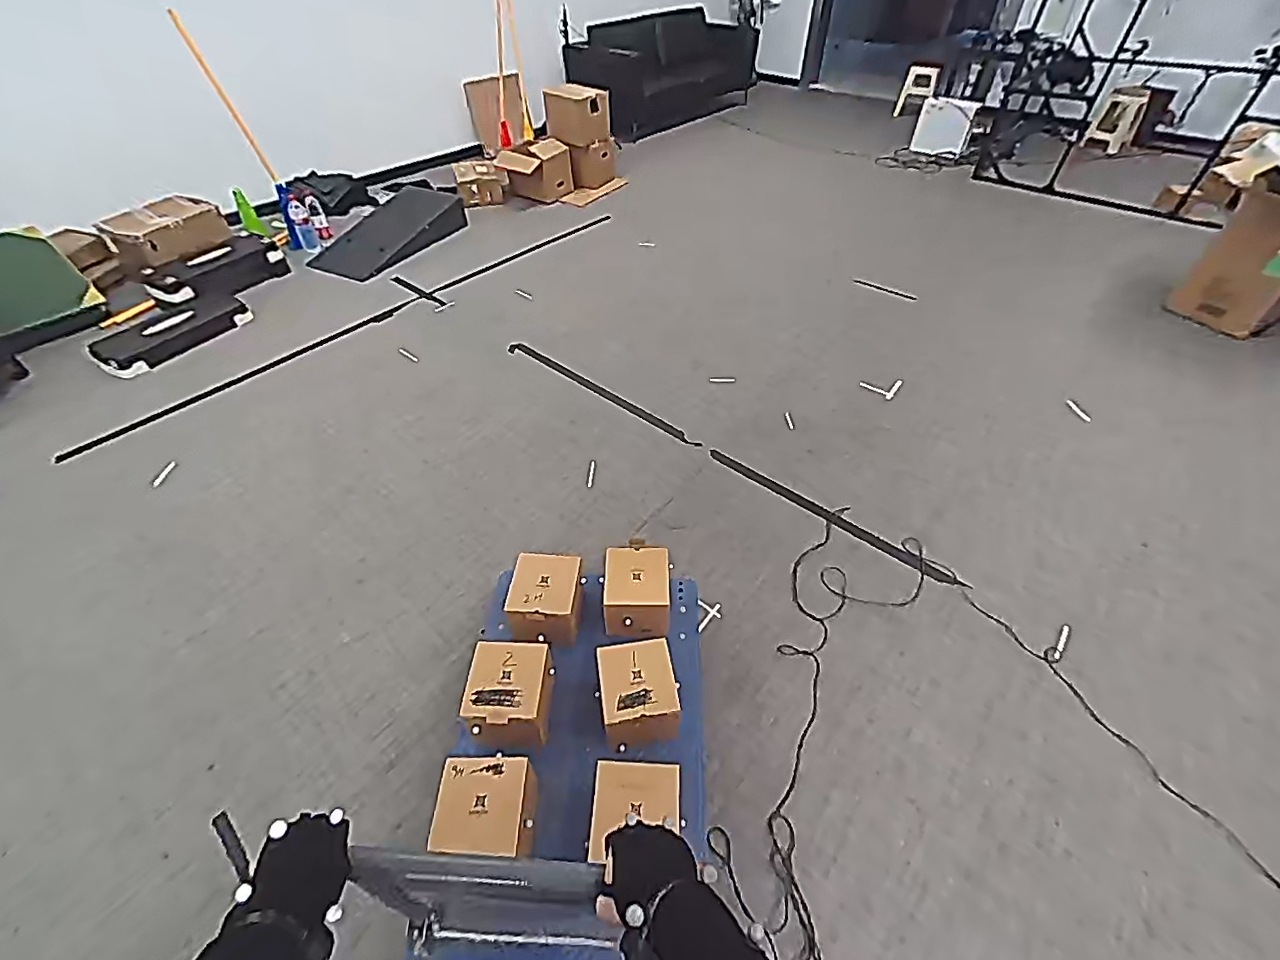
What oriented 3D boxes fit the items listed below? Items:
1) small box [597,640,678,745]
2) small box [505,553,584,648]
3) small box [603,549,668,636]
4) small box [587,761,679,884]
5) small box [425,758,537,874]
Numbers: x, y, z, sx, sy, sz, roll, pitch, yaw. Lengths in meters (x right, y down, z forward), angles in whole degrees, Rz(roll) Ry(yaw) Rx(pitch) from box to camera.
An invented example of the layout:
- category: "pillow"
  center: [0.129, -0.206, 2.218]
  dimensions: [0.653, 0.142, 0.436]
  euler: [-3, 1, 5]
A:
- category: "small box"
  center: [-0.008, 0.499, 1.258]
  dimensions: [0.168, 0.176, 0.179]
  euler: [-6, 46, -7]
- category: "small box"
  center: [-0.243, 0.318, 1.428]
  dimensions: [0.168, 0.176, 0.179]
  euler: [4, 47, 3]
- category: "small box"
  center: [-0.009, 0.304, 1.448]
  dimensions: [0.168, 0.176, 0.179]
  euler: [0, 46, 0]
- category: "small box"
  center: [-0.008, 0.686, 1.080]
  dimensions: [0.168, 0.176, 0.179]
  euler: [3, 45, 2]
- category: "small box"
  center: [-0.306, 0.676, 1.085]
  dimensions: [0.168, 0.176, 0.179]
  euler: [0, 47, -1]
